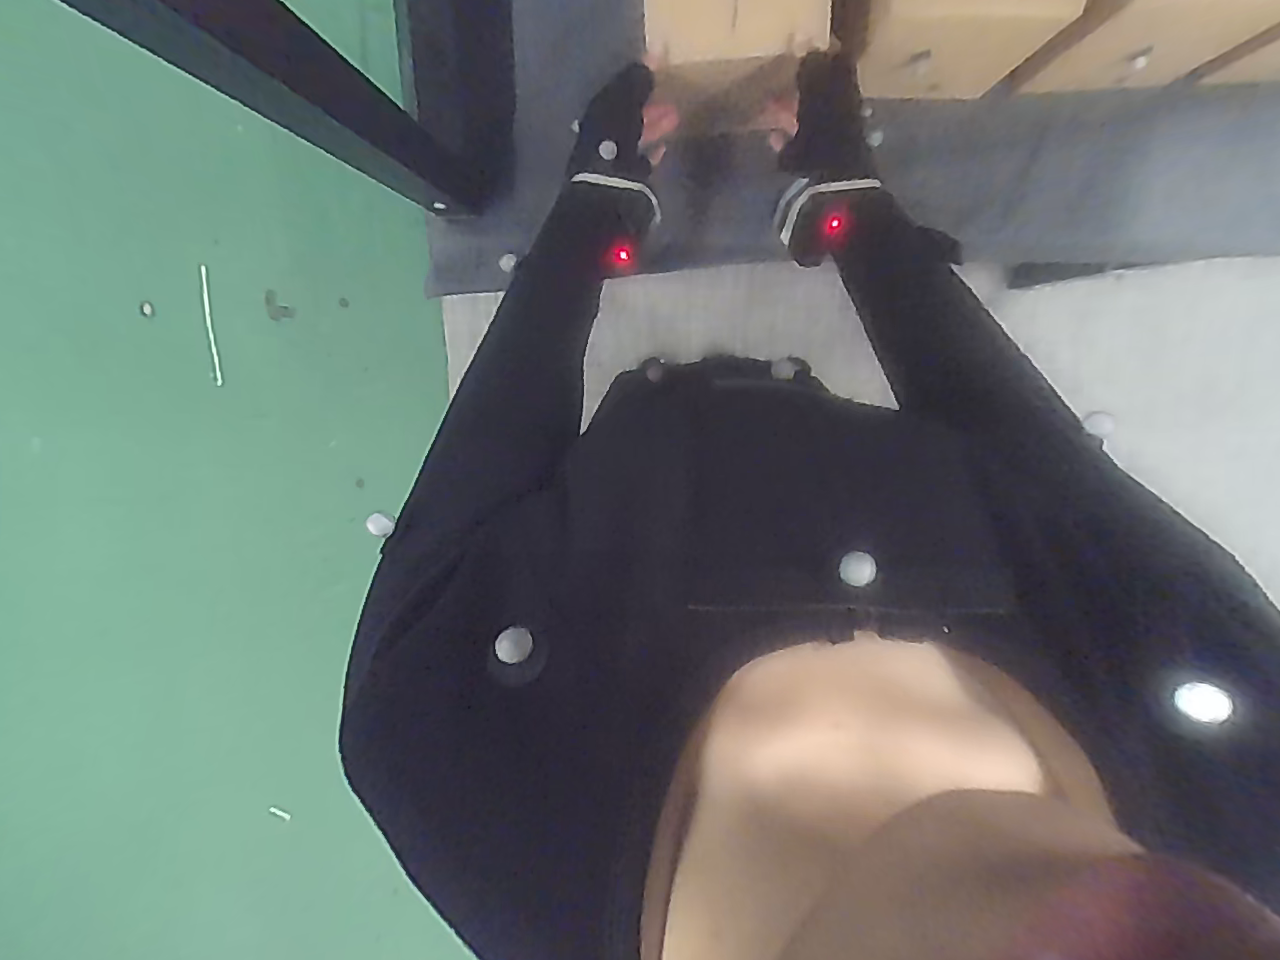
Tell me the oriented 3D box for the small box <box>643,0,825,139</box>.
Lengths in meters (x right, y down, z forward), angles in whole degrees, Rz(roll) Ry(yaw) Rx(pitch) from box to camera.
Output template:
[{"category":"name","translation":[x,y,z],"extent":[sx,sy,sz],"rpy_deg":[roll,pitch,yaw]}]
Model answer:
[{"category":"small box","translation":[0.087,-0.485,0.558],"extent":[0.168,0.176,0.179],"rpy_deg":[-2,103,4]}]
